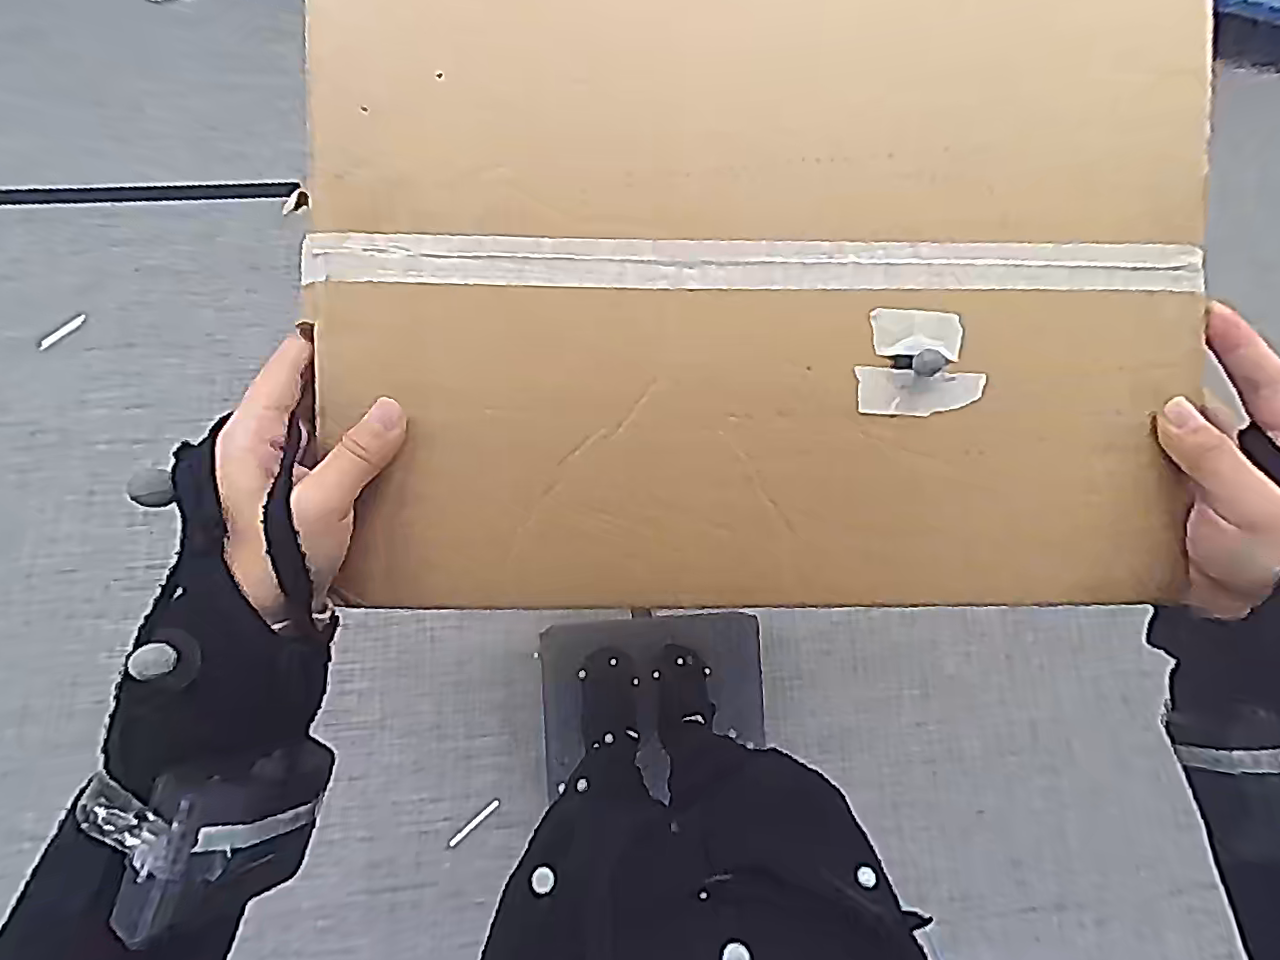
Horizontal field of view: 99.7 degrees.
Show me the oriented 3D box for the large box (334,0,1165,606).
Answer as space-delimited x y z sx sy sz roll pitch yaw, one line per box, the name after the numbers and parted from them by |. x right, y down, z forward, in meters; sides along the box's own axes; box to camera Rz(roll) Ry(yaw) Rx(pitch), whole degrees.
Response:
0.049 -0.100 0.410 0.408 0.320 0.320 0 93 -3 | large box

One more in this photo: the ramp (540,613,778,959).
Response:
0.052 0.811 1.193 0.509 0.206 0.991 -5 79 -5 | ramp
